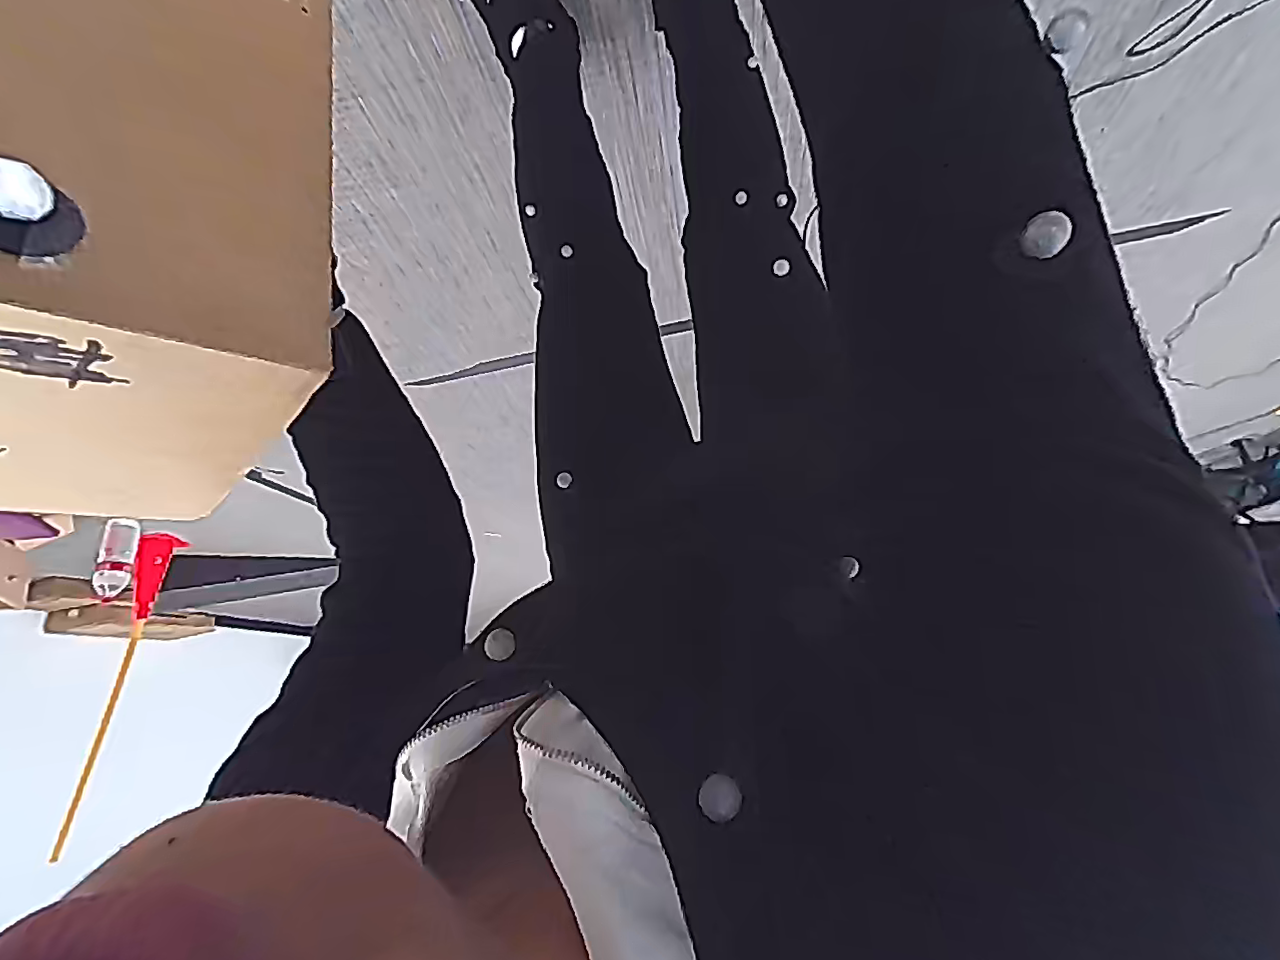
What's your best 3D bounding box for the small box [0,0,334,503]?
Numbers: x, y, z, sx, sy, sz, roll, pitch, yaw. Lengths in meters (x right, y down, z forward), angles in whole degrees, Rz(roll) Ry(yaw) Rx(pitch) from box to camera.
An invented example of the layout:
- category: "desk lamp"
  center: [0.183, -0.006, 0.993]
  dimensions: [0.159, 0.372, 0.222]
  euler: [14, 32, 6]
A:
- category: "small box"
  center: [-0.219, -0.098, 0.179]
  dimensions: [0.179, 0.176, 0.168]
  euler: [-21, 162, 39]
